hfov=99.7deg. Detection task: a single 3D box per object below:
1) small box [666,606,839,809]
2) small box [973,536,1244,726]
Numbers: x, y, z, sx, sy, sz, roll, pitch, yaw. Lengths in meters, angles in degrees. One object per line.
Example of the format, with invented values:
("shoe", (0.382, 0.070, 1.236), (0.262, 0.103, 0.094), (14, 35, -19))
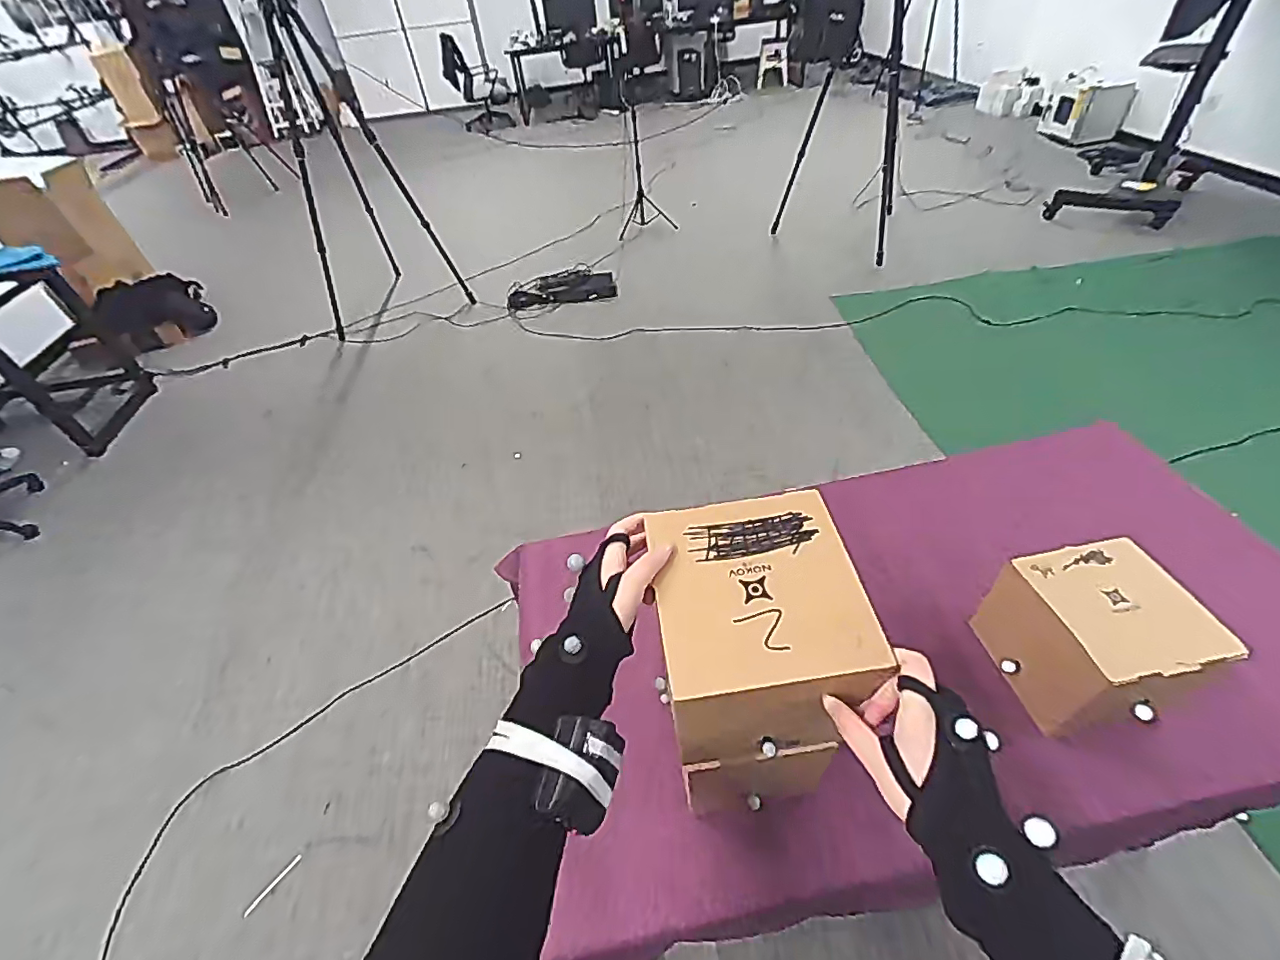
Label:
("small box", (0.128, 0.289, 0.687), (0.168, 0.176, 0.179), (-9, 46, -2))
("small box", (0.586, 0.203, 0.710), (0.168, 0.176, 0.179), (-10, 46, -3))
